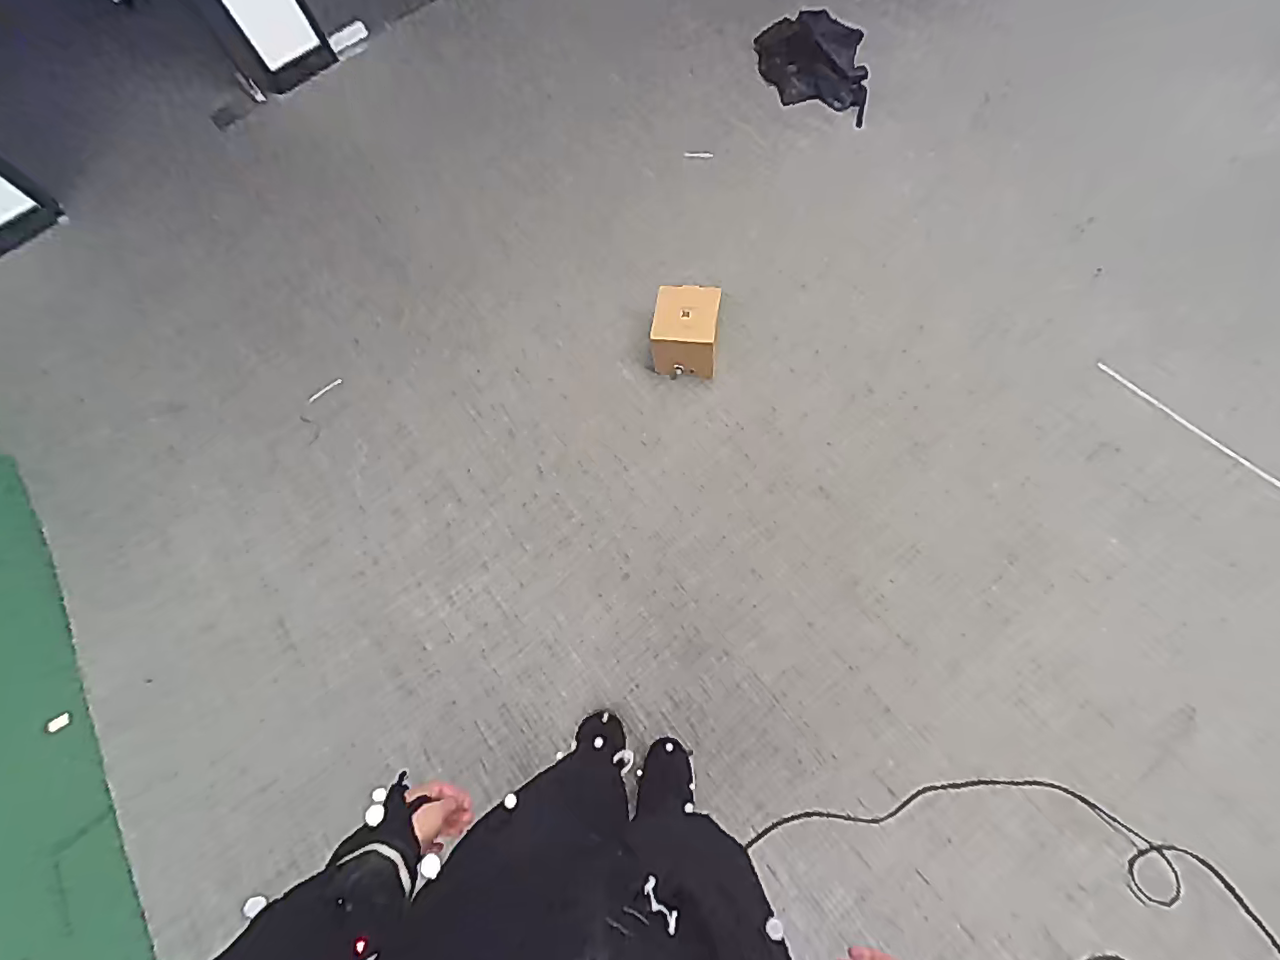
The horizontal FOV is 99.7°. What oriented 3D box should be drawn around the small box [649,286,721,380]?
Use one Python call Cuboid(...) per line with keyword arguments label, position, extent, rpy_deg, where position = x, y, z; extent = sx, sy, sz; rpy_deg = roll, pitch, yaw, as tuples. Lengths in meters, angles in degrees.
Cuboid(label="small box", position=(0.125, -0.392, 1.449), extent=(0.168, 0.176, 0.179), rpy_deg=(6, 70, 10))
